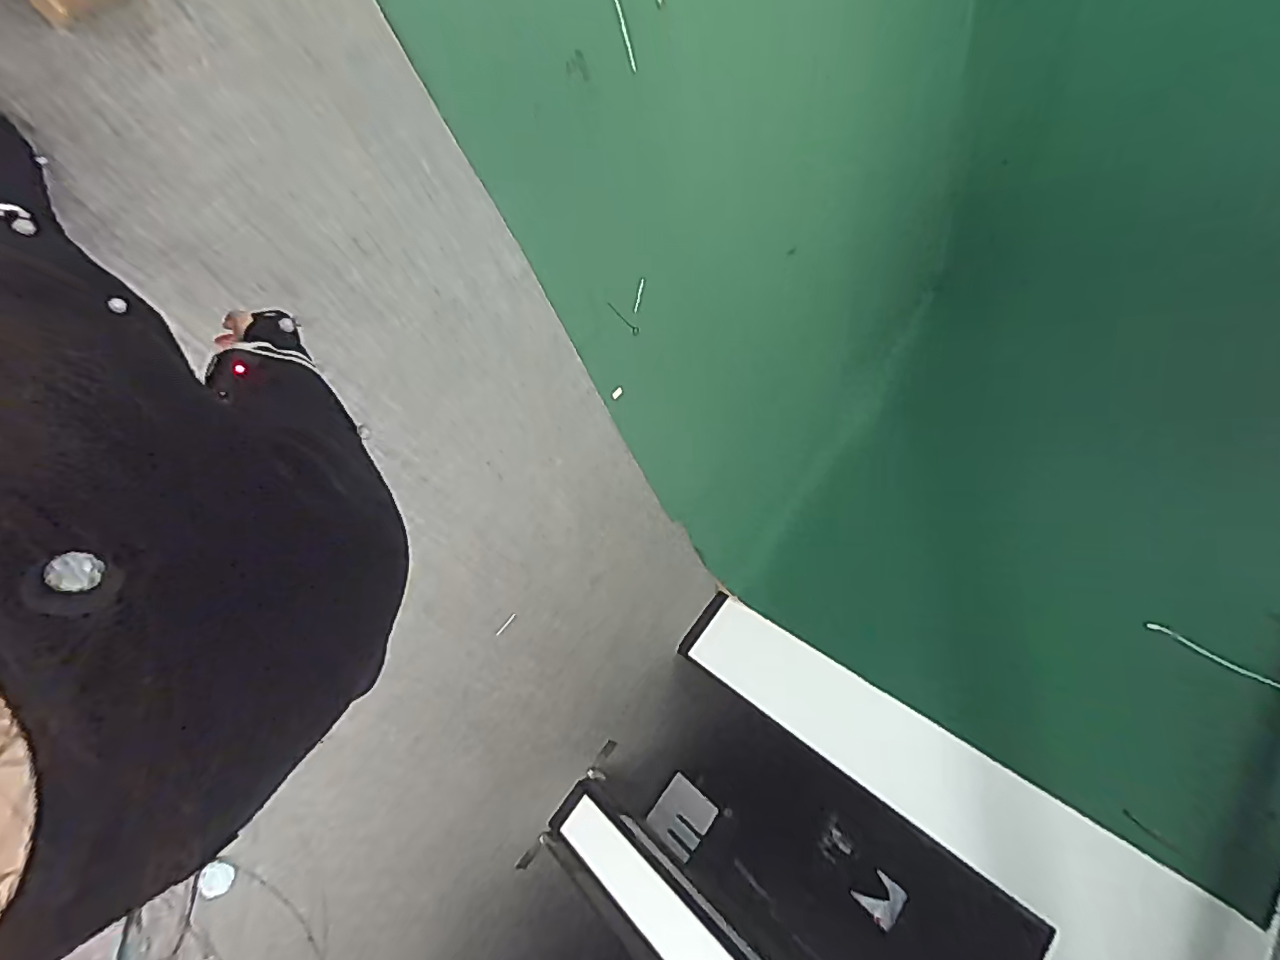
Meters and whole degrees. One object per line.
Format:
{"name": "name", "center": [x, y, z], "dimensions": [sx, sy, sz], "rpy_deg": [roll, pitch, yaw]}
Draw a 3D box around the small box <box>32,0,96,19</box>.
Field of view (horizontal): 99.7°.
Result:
{"name": "small box", "center": [-0.881, -0.826, 0.799], "dimensions": [0.179, 0.176, 0.168], "rpy_deg": [-51, 142, -15]}
